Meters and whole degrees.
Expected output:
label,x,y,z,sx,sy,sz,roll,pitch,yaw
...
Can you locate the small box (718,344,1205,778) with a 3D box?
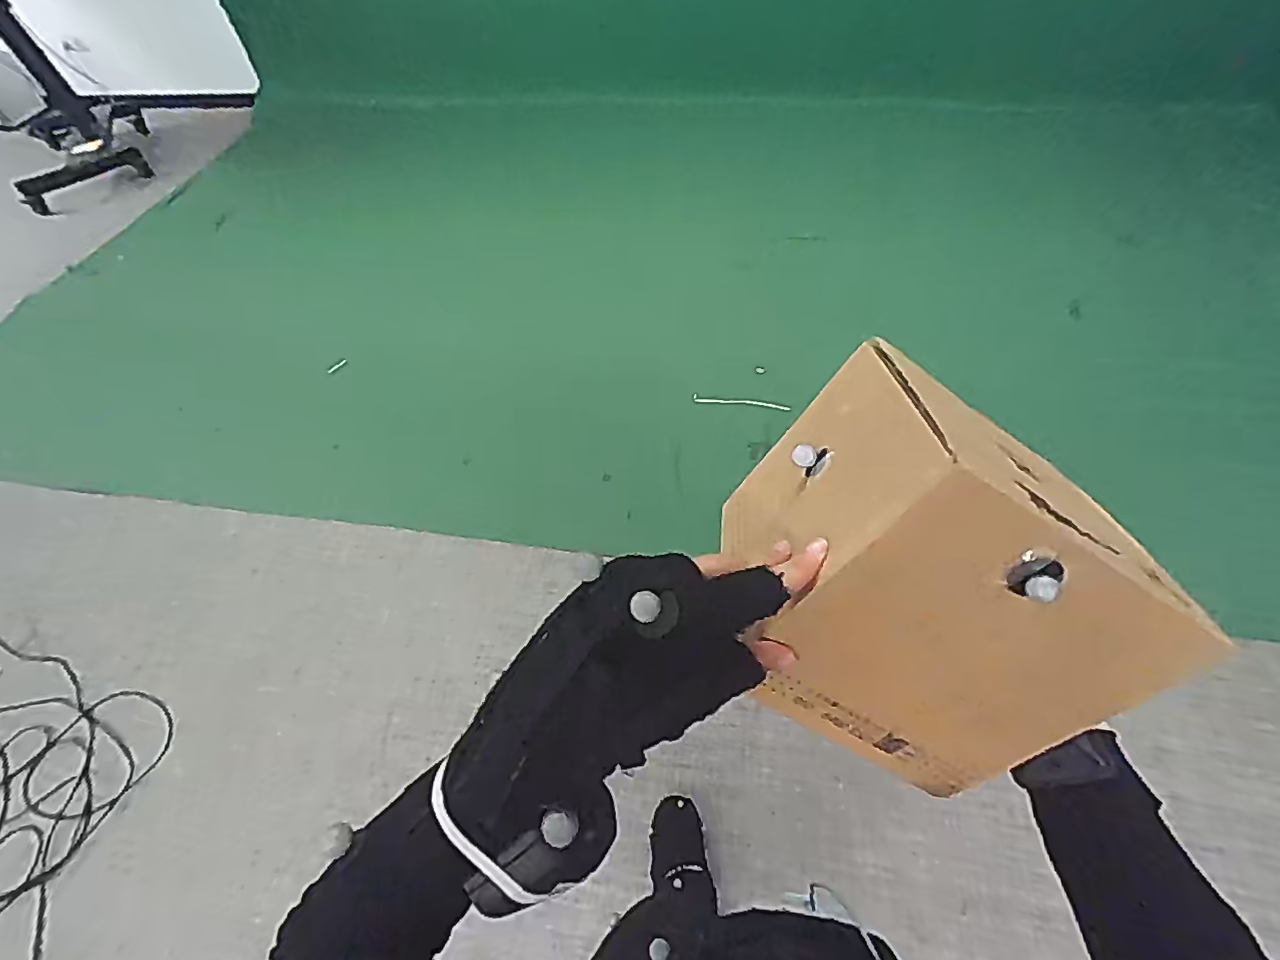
label,x,y,z,sx,sy,sz,roll,pitch,yaw
small box,0.165,0.047,0.349,0.168,0.176,0.179,31,32,-8
